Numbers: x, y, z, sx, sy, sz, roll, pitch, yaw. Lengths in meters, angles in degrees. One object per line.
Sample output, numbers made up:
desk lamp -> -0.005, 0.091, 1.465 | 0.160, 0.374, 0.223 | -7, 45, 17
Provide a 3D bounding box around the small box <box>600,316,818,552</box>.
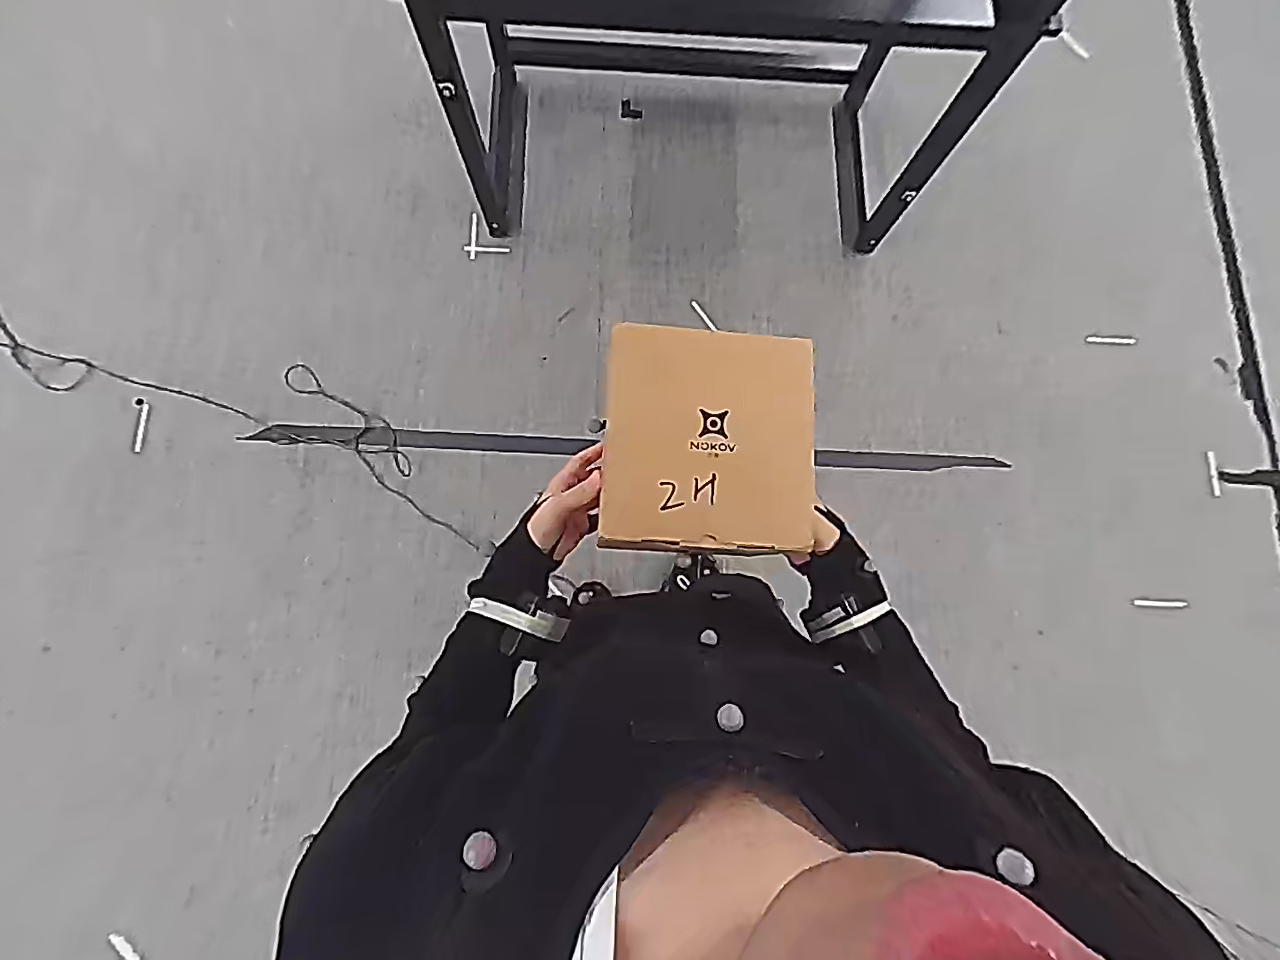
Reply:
small box -> 0.051, -0.028, 0.500 | 0.168, 0.176, 0.179 | 4, 82, -4
